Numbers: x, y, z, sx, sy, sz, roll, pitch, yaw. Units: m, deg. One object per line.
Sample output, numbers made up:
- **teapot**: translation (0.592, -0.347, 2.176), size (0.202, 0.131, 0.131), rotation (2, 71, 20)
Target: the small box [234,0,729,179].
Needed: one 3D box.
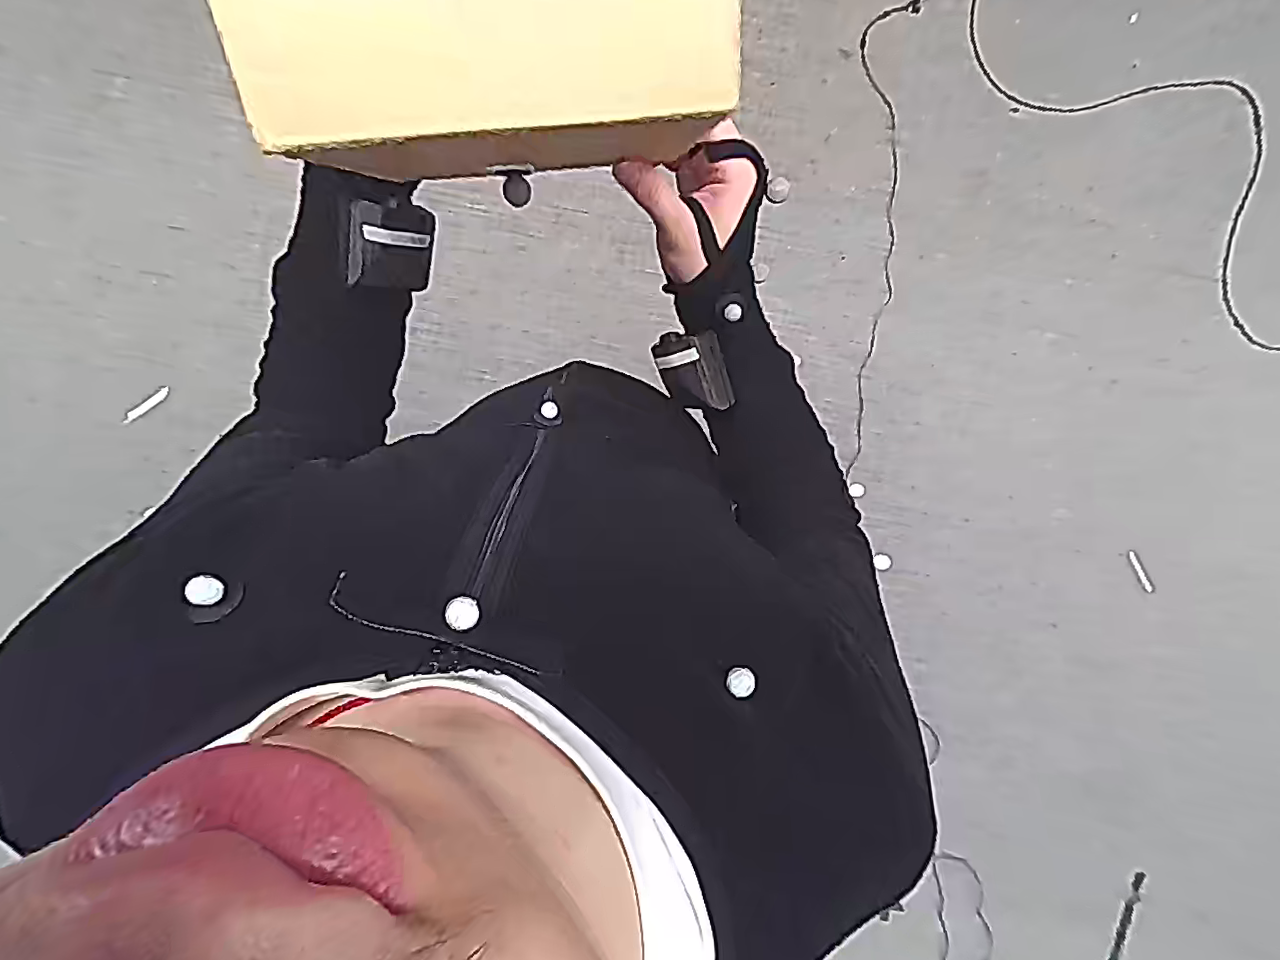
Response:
- **small box**: translation (-0.060, -0.238, 0.231), size (0.168, 0.176, 0.179), rotation (-6, 117, -1)
